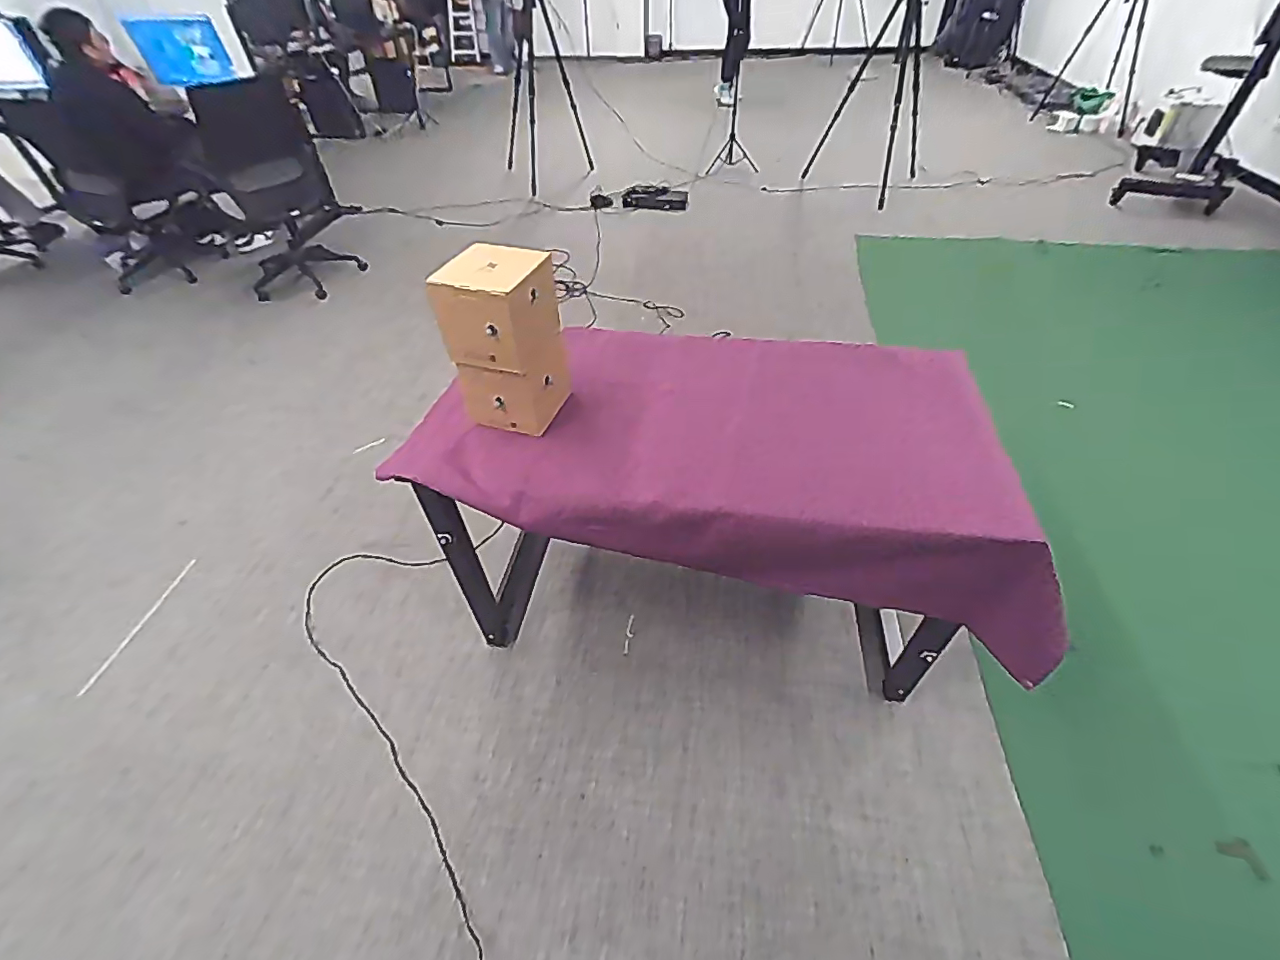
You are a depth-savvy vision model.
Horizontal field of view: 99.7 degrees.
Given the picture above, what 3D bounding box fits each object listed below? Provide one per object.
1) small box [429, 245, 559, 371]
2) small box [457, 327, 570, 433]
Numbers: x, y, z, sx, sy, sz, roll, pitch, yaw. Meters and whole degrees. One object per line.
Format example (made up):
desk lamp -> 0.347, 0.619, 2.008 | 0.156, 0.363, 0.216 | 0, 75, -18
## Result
small box -> -0.269, -0.332, 1.048 | 0.168, 0.176, 0.179 | 13, 47, 14
small box -> -0.261, -0.224, 1.171 | 0.168, 0.176, 0.179 | 12, 48, 13
